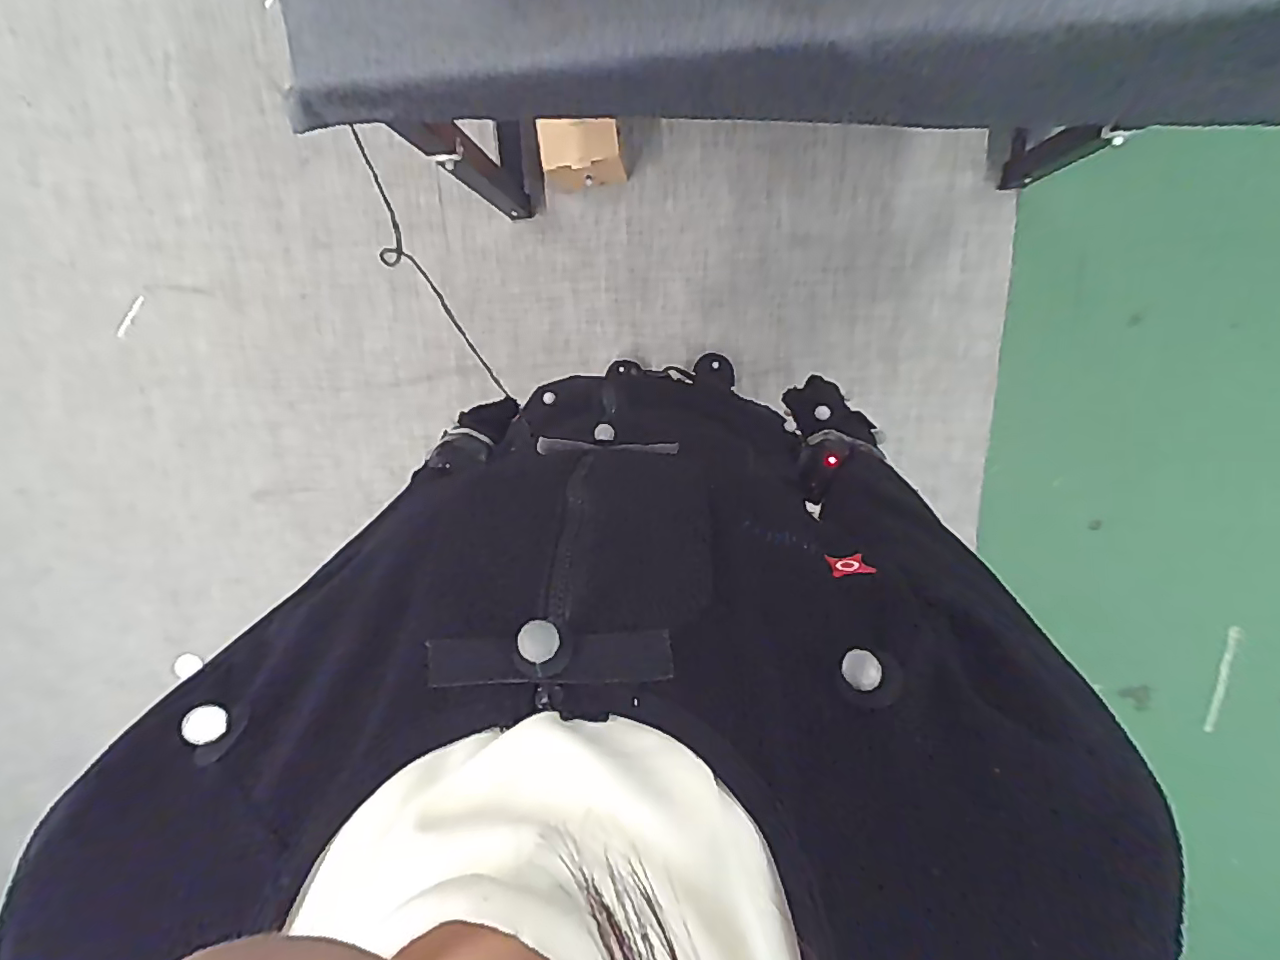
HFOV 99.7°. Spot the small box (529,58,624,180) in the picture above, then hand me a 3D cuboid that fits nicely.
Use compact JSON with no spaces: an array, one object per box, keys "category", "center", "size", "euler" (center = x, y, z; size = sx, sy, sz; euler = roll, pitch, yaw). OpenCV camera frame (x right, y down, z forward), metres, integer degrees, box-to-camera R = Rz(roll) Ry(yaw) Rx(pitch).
[{"category":"small box","center":[-0.130,-0.775,1.184],"size":[0.168,0.176,0.179],"euler":[-5,104,5]}]
